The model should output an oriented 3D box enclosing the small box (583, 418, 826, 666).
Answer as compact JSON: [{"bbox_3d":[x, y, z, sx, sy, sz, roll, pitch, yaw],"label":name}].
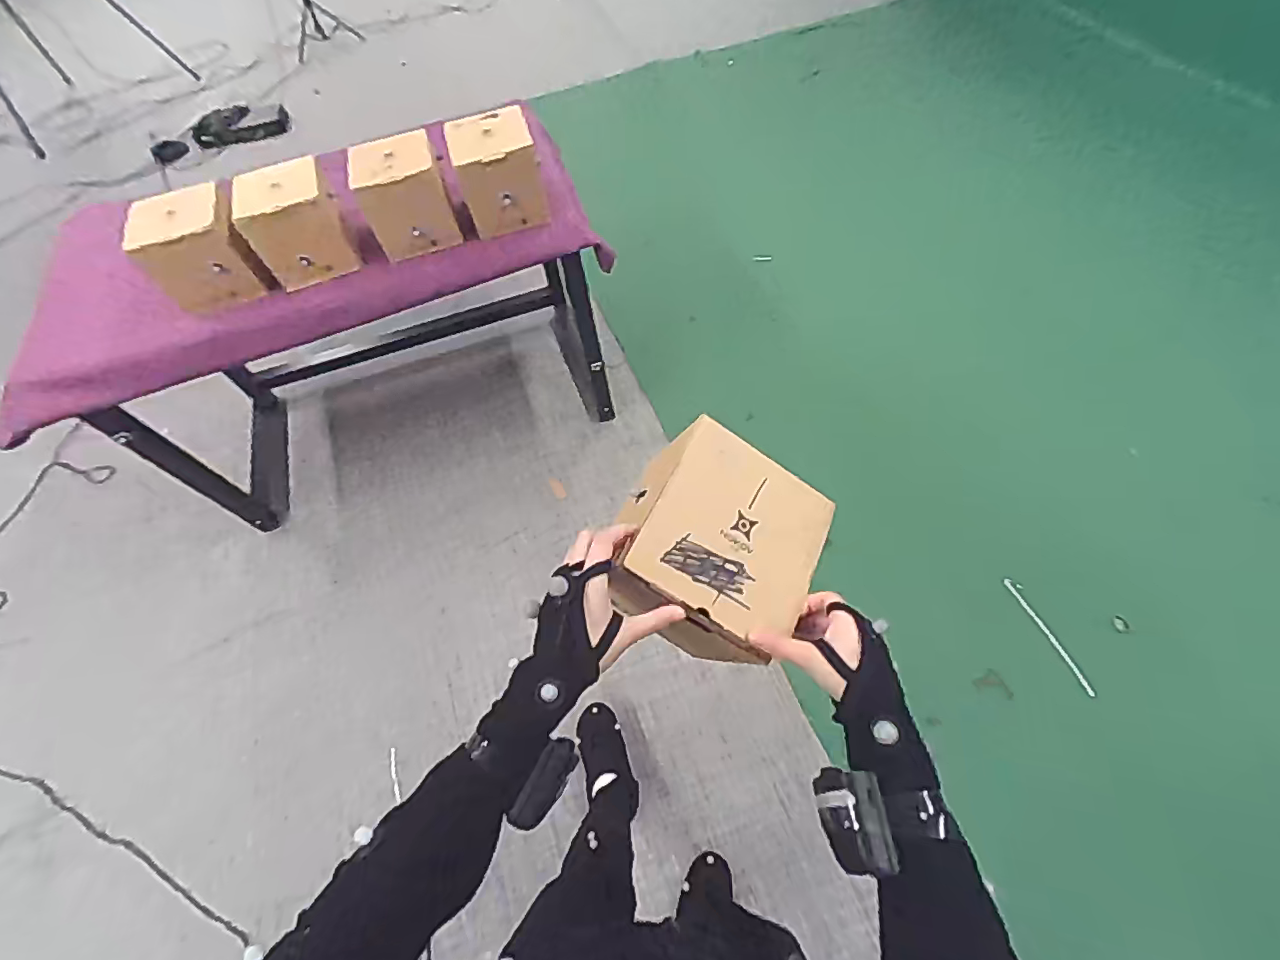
[{"bbox_3d":[0.055,0.073,0.568,0.168,0.176,0.179,33,67,-7],"label":"small box"}]
